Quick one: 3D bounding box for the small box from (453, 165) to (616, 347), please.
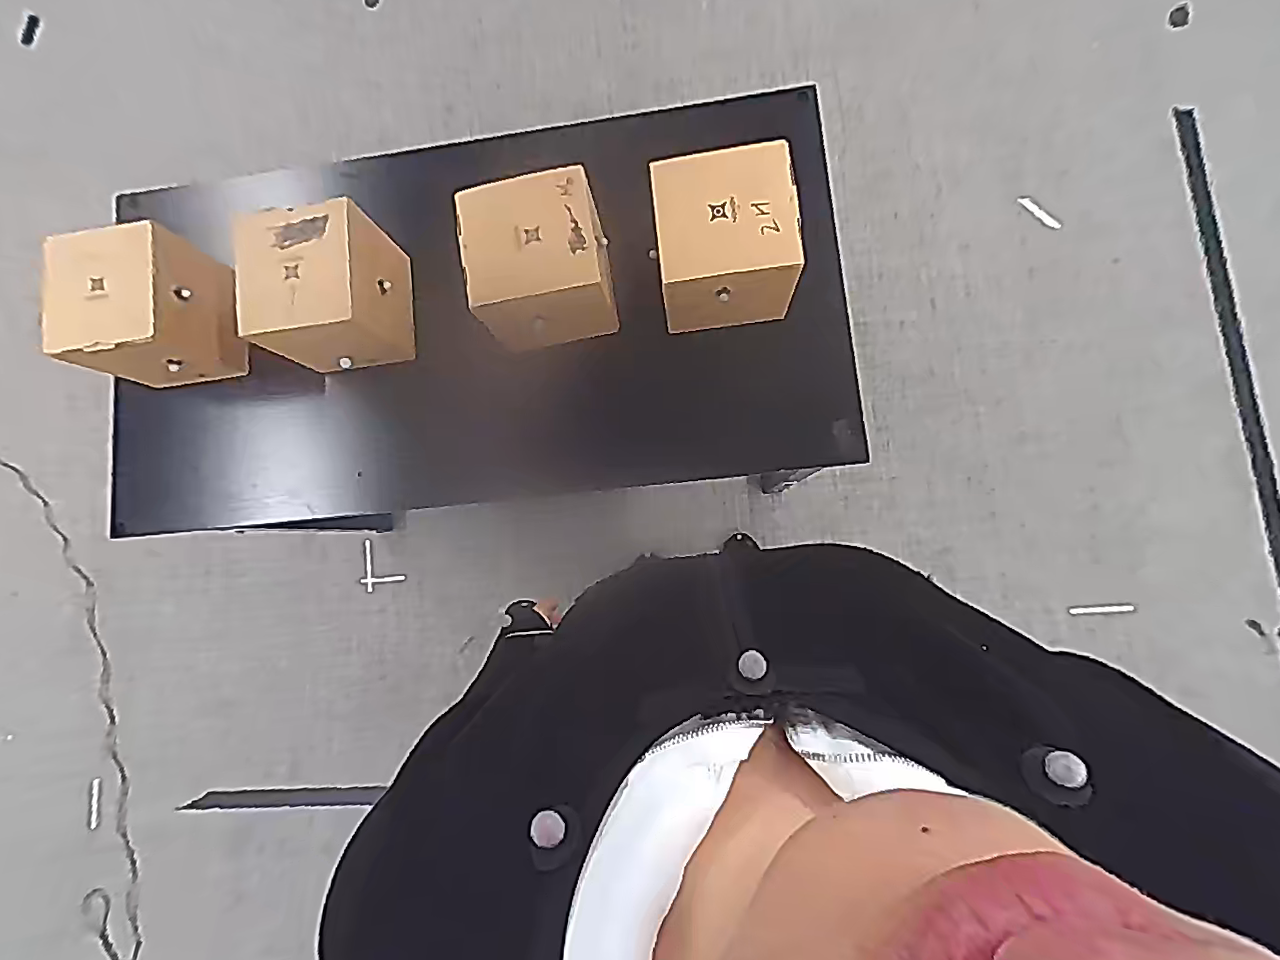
[{"bbox_3d":[-0.142,-0.306,0.777,0.179,0.176,0.168,-10,83,5],"label":"small box"}]

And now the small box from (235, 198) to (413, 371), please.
[{"bbox_3d":[-0.458,-0.278,0.804,0.168,0.176,0.179,-7,84,5],"label":"small box"}]

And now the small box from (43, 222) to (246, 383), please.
[{"bbox_3d":[-0.743,-0.257,0.829,0.168,0.176,0.179,-8,82,3],"label":"small box"}]

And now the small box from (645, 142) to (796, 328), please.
[{"bbox_3d":[0.108,-0.325,0.754,0.179,0.176,0.168,-6,83,5],"label":"small box"}]
